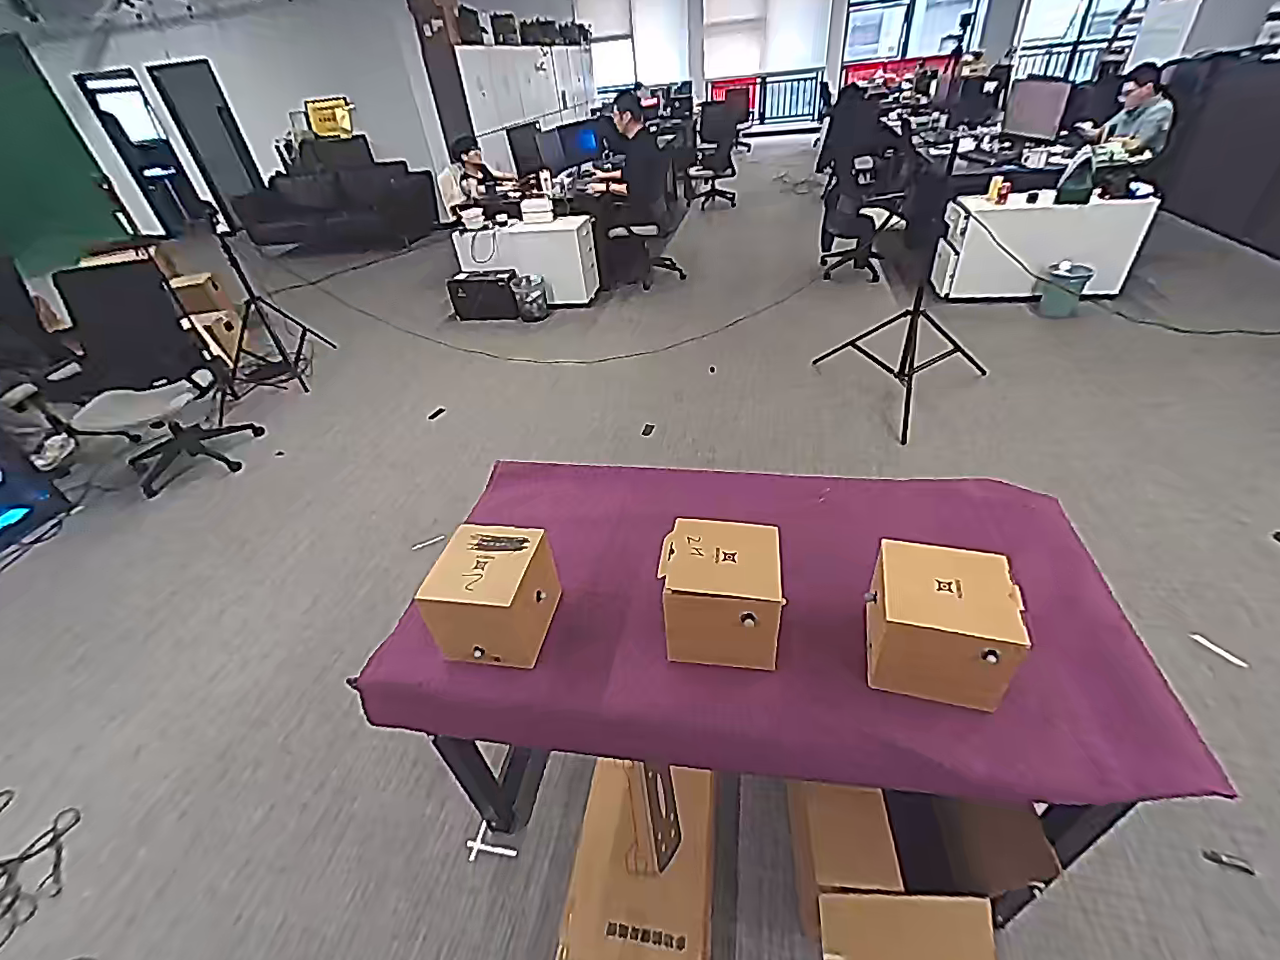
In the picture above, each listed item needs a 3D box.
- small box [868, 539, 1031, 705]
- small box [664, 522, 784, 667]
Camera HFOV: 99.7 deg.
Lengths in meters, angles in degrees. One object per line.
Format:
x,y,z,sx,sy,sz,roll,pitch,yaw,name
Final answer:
0.448,0.213,0.819,0.179,0.176,0.168,6,39,16,small box
0.140,0.189,0.897,0.179,0.176,0.168,1,36,11,small box
